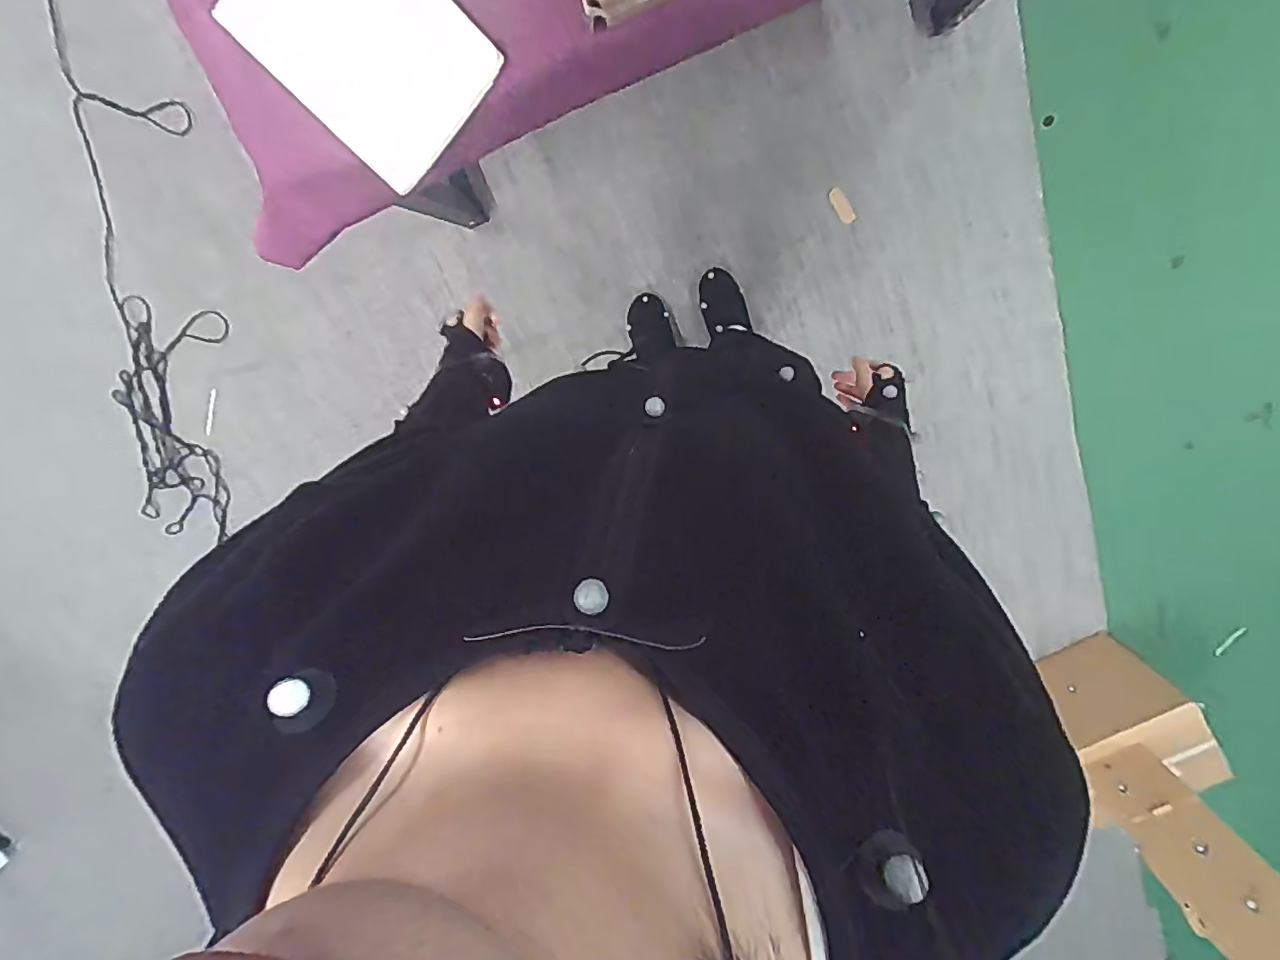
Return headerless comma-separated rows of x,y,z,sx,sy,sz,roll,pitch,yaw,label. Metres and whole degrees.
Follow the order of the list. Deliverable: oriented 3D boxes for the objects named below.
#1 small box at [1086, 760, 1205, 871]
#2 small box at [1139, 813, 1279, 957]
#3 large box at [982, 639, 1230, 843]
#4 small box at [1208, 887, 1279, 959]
1.286,0.842,1.363,0.168,0.176,0.179,-33,104,12,small box
1.280,0.898,1.210,0.179,0.176,0.168,-34,104,12,small box
1.335,0.753,1.589,0.408,0.320,0.320,-34,105,11,large box
1.278,0.950,1.053,0.179,0.176,0.168,-33,104,13,small box
